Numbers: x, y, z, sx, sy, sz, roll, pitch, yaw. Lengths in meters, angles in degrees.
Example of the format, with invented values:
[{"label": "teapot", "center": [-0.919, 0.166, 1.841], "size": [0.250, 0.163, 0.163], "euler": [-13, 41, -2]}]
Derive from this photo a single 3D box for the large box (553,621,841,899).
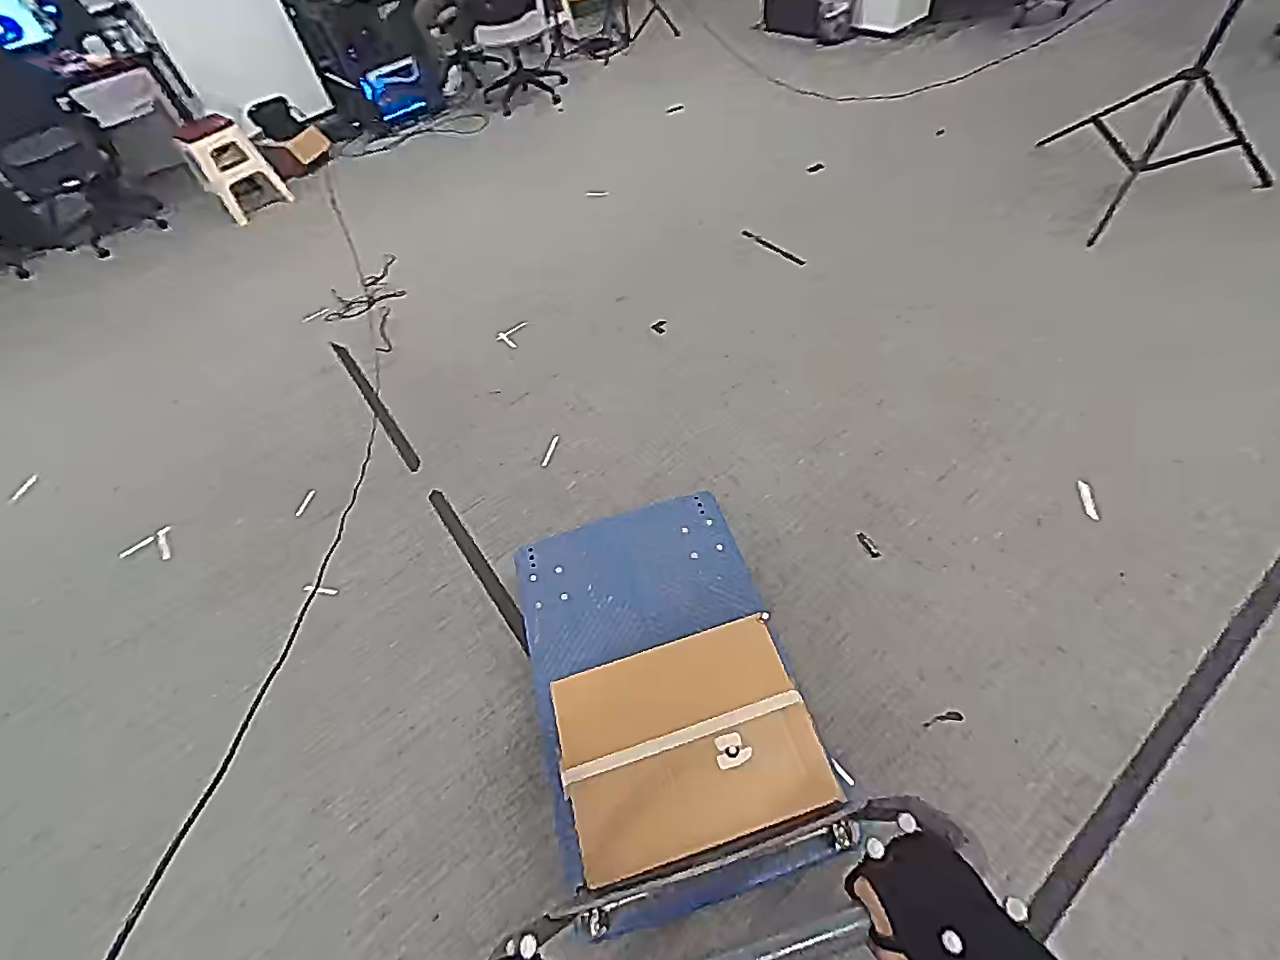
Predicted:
[{"label": "large box", "center": [0.091, 0.520, 1.002], "size": [0.408, 0.320, 0.320], "euler": [-17, 54, -4]}]
